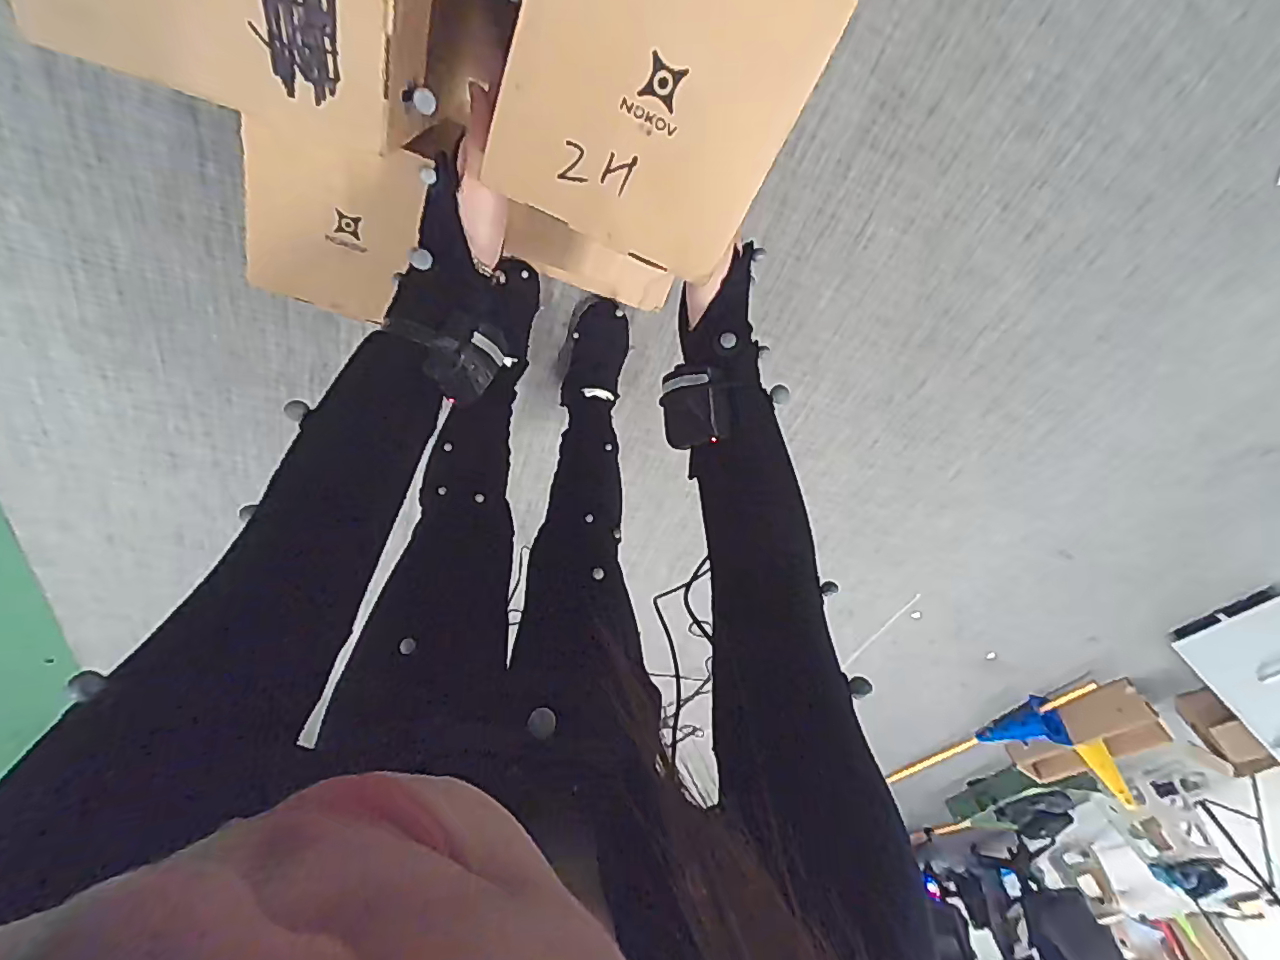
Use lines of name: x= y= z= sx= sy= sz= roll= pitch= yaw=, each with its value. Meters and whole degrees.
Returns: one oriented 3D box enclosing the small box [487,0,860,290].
small box: x=0.007 y=-0.272 z=0.377 sx=0.168 sy=0.176 sz=0.179 roll=18 pitch=125 yaw=-18
